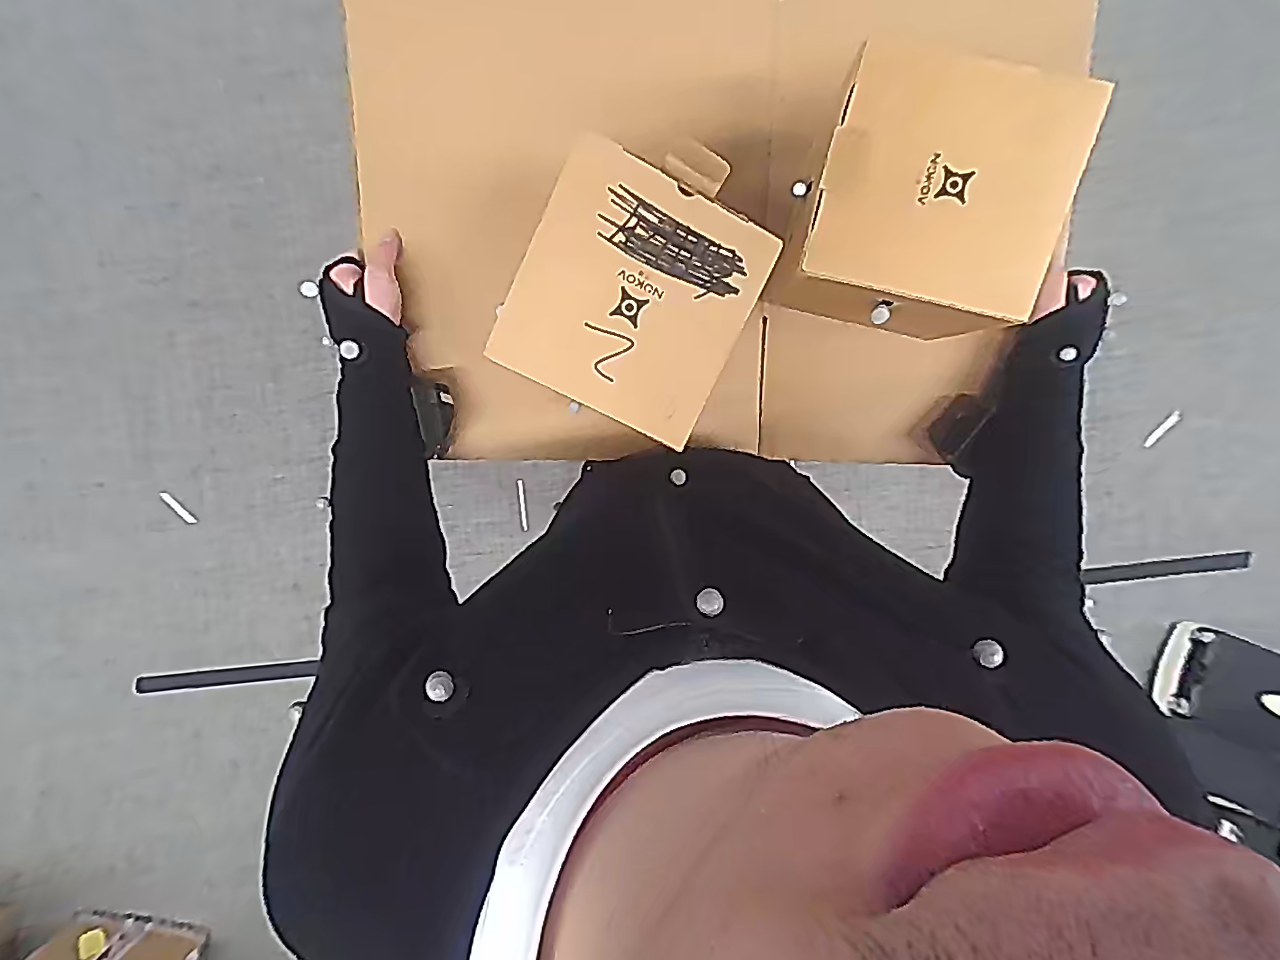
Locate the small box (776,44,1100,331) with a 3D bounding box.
[{"bbox_3d":[0.237,-0.236,0.485,0.179,0.176,0.168,15,102,4],"label":"small box"}]
